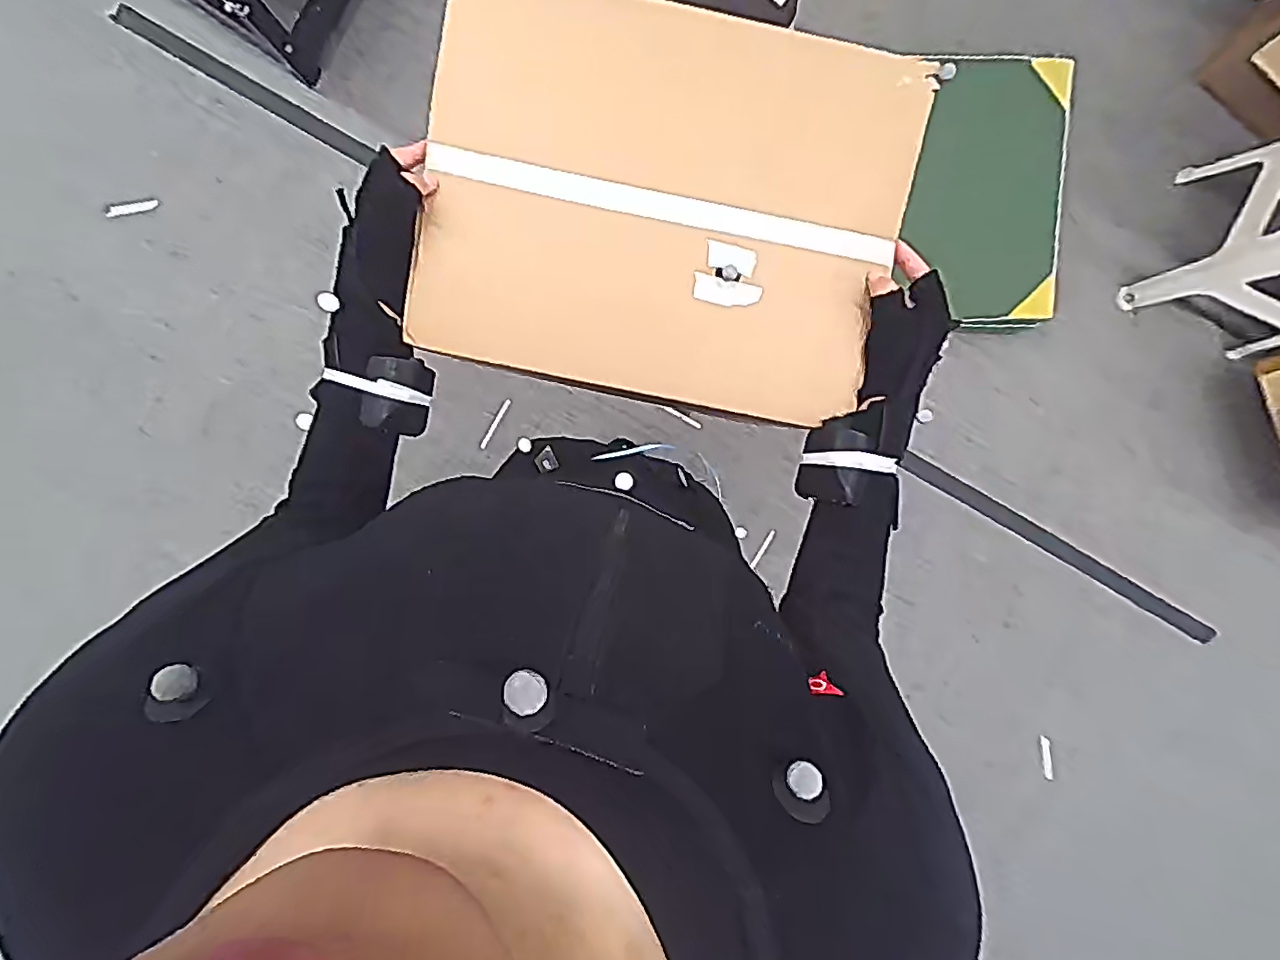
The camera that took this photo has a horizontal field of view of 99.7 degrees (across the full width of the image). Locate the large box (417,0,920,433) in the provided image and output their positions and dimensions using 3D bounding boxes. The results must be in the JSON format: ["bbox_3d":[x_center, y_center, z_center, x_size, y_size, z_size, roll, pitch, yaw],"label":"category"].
[{"bbox_3d":[0.015,-0.245,0.621,0.408,0.320,0.320,11,98,-3],"label":"large box"}]
